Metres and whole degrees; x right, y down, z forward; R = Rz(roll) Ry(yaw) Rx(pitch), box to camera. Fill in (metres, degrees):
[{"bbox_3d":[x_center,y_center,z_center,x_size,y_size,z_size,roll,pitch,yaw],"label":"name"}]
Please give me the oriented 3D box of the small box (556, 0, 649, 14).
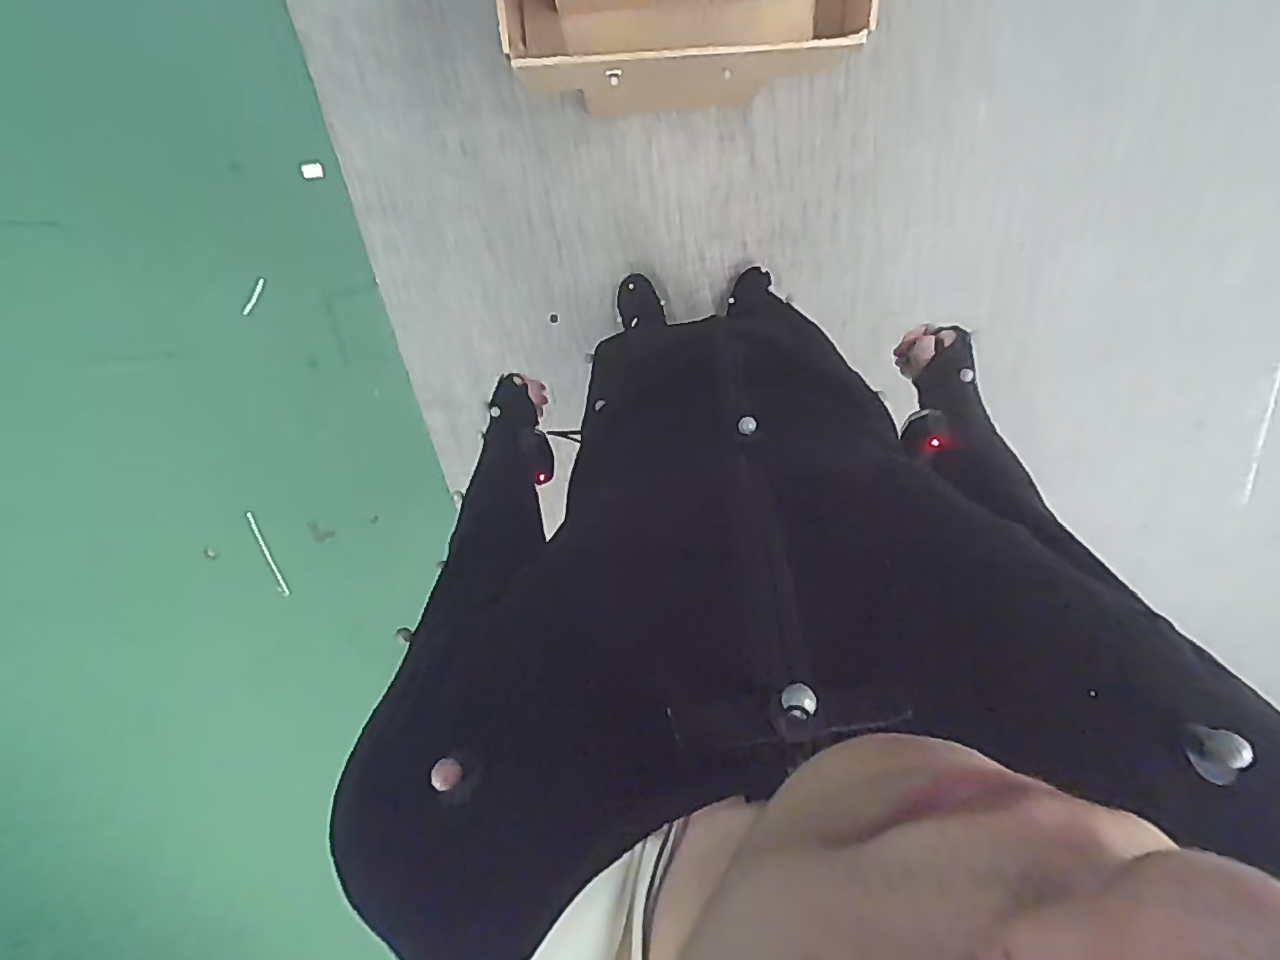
[{"bbox_3d":[-0.067,-0.884,0.864,0.179,0.176,0.168,-5,113,1],"label":"small box"}]
